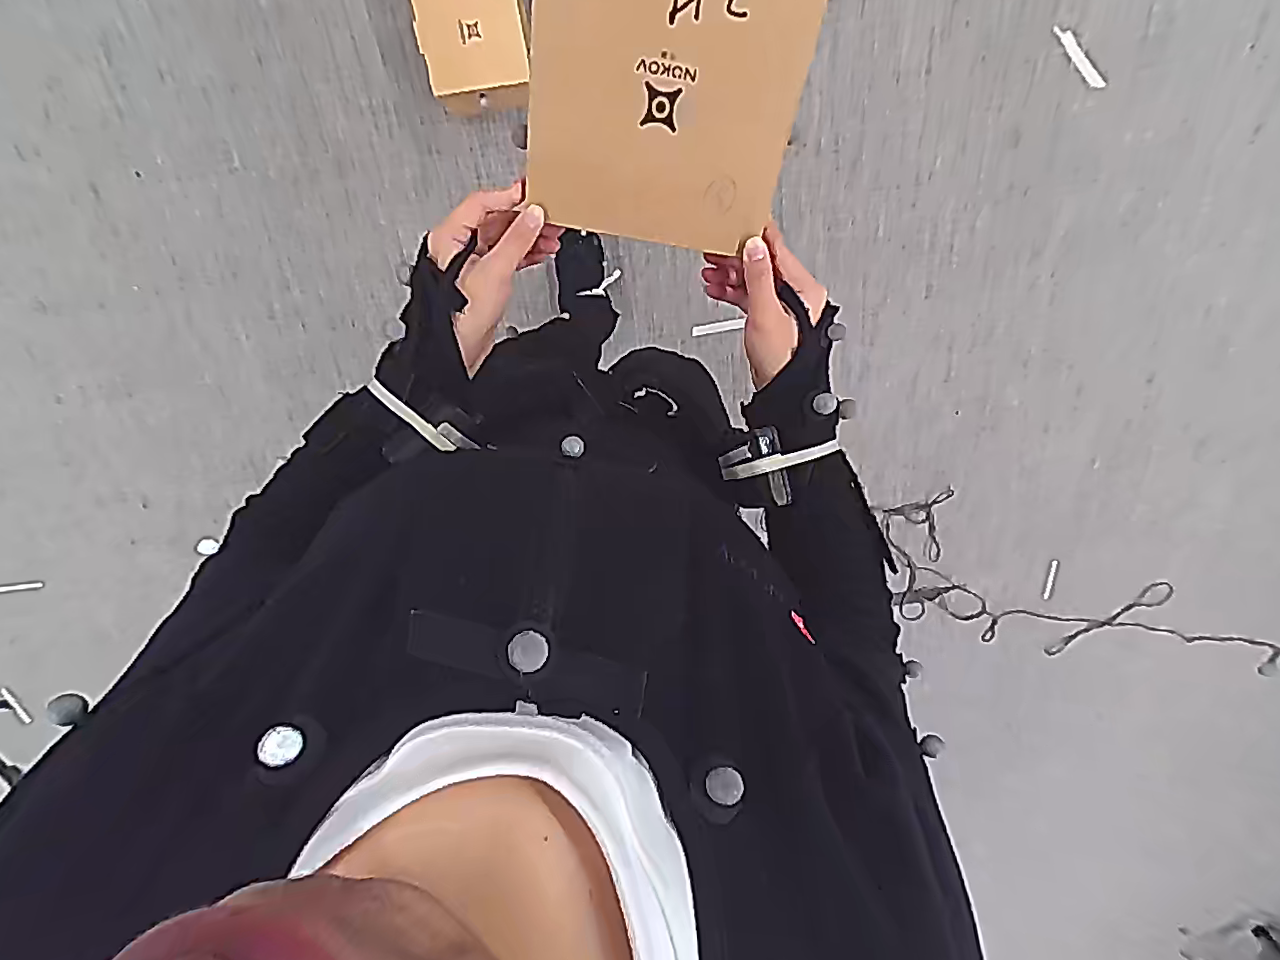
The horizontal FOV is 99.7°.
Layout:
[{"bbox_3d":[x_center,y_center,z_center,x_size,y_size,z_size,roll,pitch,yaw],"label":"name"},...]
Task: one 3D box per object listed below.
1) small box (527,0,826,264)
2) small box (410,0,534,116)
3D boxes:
[{"bbox_3d":[0.017,-0.284,0.400,0.168,0.176,0.179,8,125,-5],"label":"small box"},{"bbox_3d":[-0.290,-0.780,0.979,0.179,0.176,0.168,-8,115,0],"label":"small box"}]
